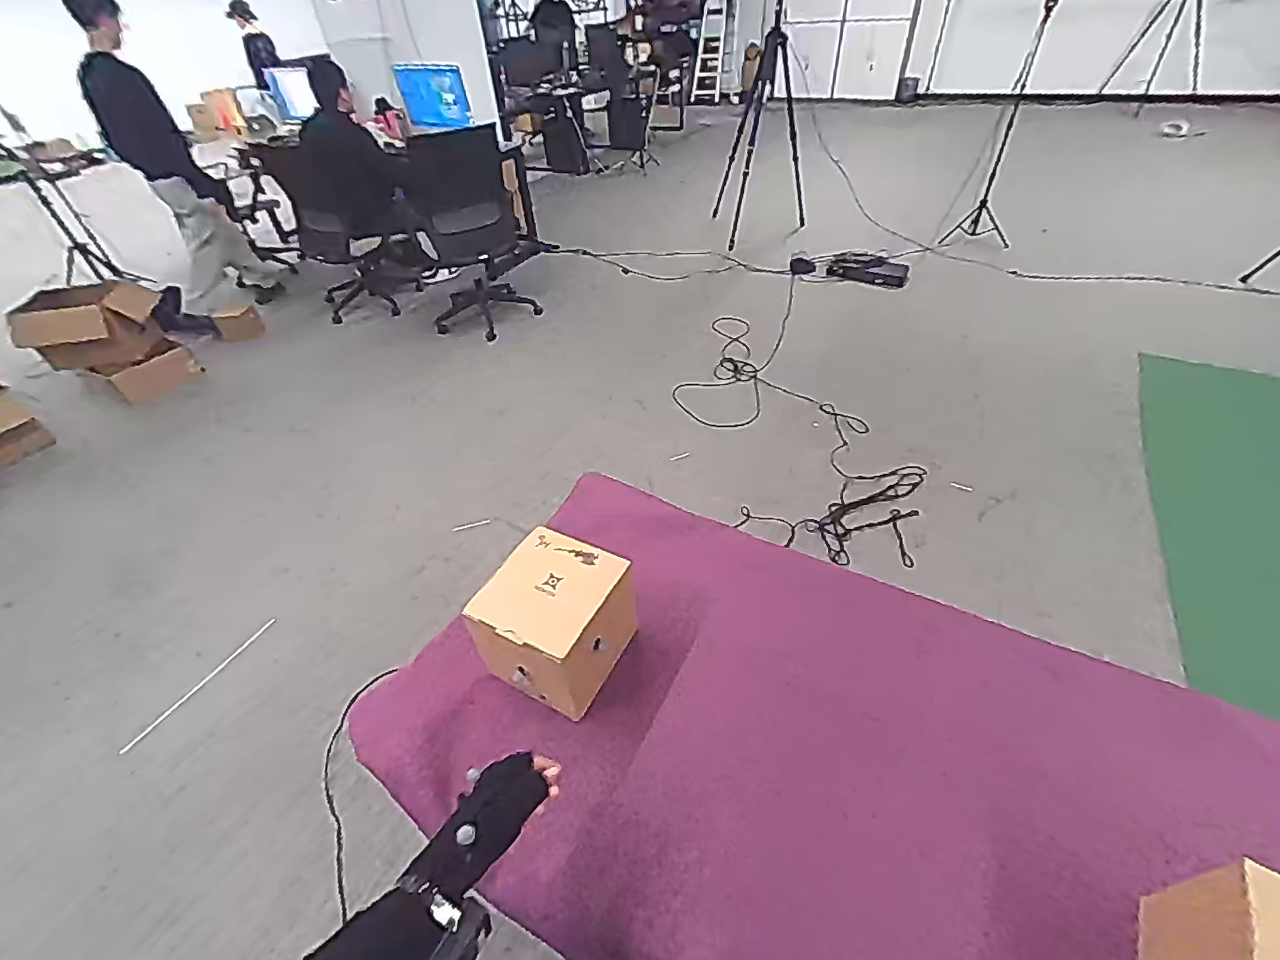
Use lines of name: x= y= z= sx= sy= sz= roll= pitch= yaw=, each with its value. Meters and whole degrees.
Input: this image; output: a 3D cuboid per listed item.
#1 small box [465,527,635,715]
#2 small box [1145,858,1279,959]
small box: x=-0.116 y=0.206 z=0.790 sx=0.168 sy=0.176 sz=0.179 roll=18 pitch=47 yaw=23
small box: x=0.553 y=0.467 z=0.439 sx=0.168 sy=0.176 sz=0.179 roll=24 pitch=49 yaw=28
